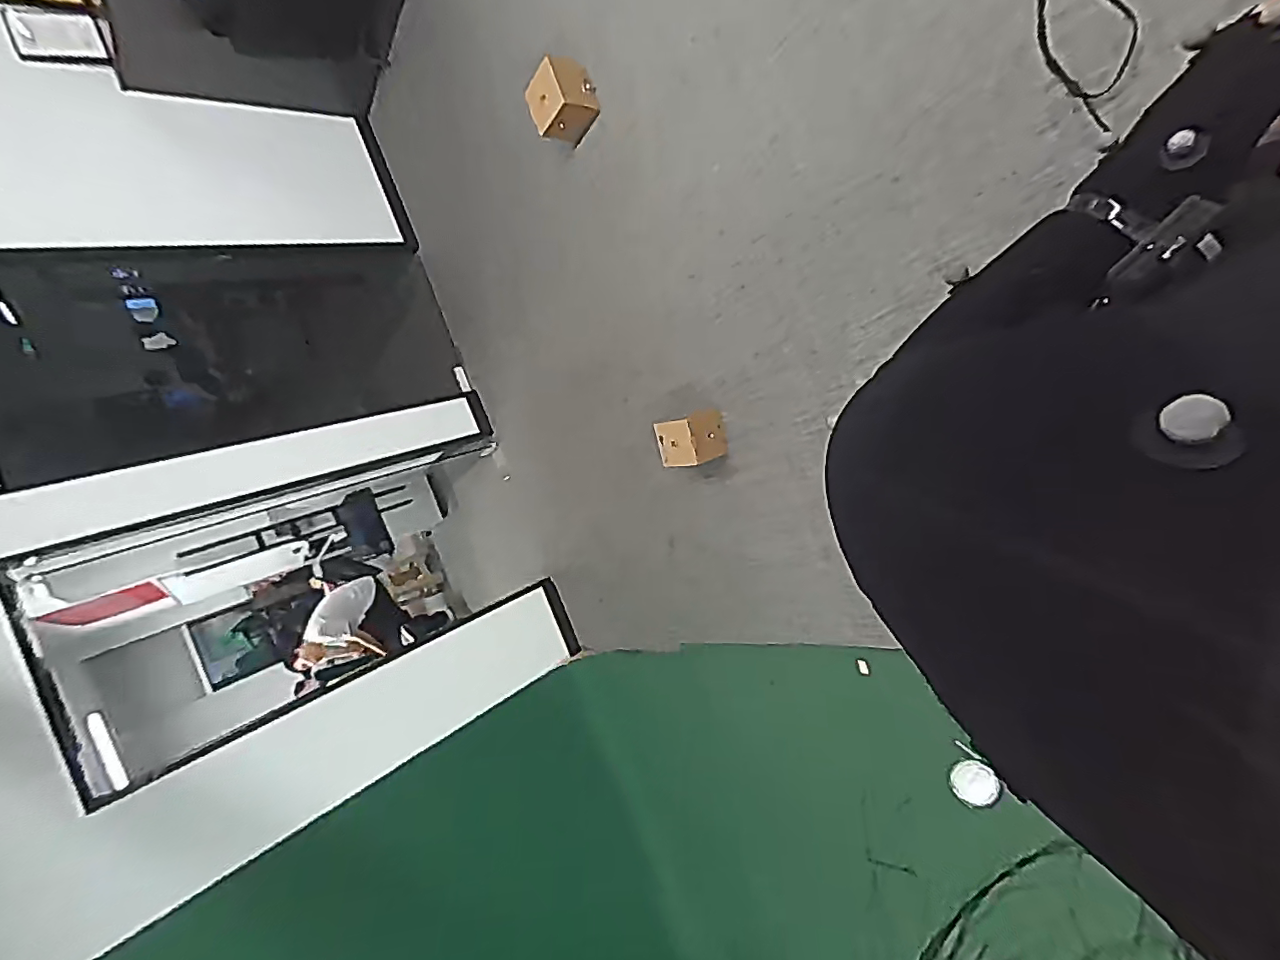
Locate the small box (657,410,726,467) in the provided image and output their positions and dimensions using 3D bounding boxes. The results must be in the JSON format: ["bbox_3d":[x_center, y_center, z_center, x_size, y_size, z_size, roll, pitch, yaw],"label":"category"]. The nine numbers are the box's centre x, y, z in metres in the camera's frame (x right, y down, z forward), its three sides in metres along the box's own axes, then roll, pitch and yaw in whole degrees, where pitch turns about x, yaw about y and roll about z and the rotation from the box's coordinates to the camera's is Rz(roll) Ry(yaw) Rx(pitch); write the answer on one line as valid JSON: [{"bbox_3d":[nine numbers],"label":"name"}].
[{"bbox_3d":[0.193,-0.149,1.951,0.179,0.176,0.168,-2,106,49],"label":"small box"}]

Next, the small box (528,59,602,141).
[{"bbox_3d":[-0.266,-1.348,1.933,0.179,0.176,0.168,-20,93,50],"label":"small box"}]
